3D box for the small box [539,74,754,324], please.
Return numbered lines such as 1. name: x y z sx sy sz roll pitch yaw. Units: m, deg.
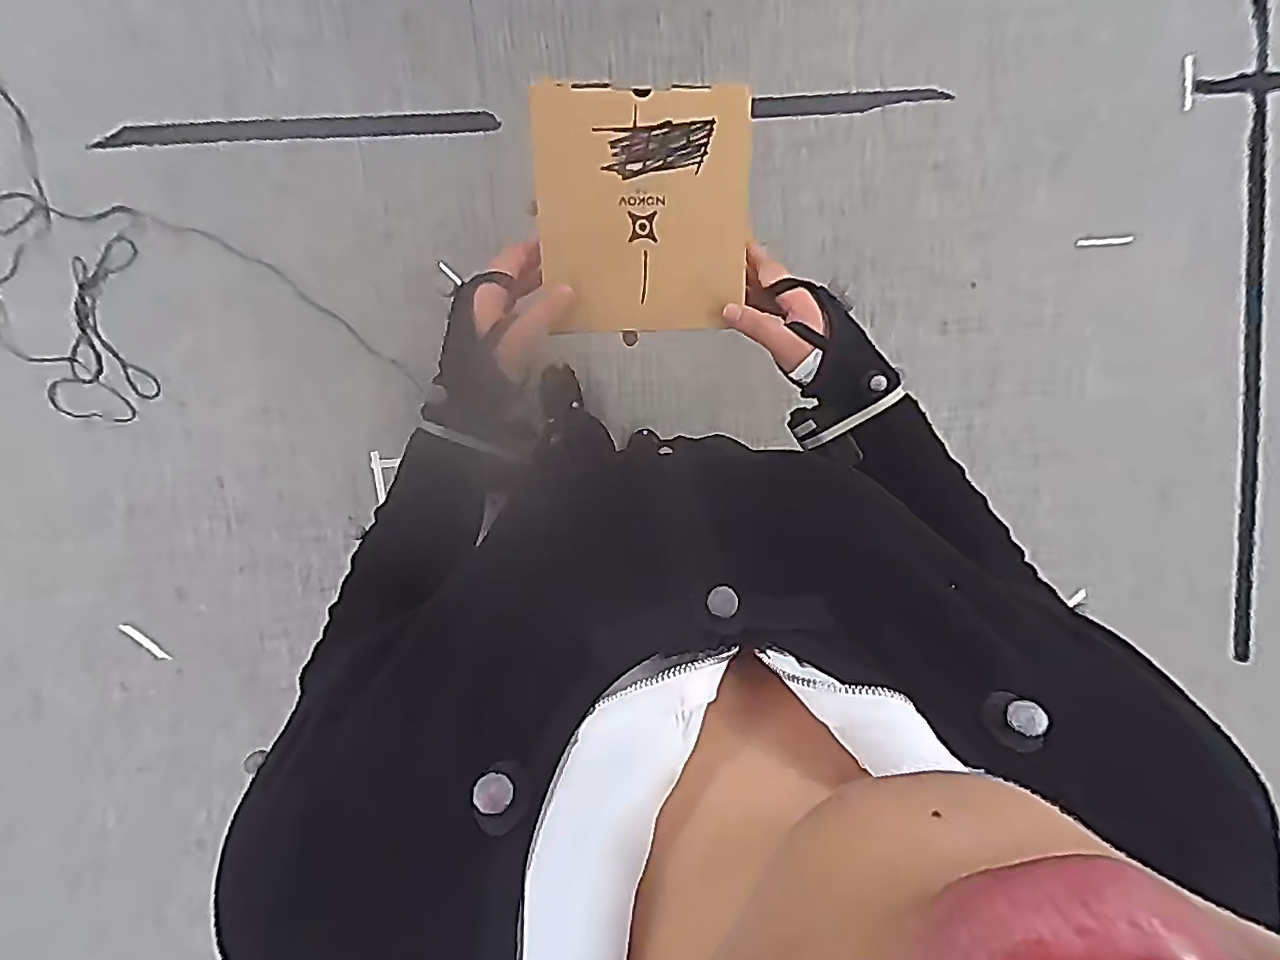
1. small box: 0.000 -0.237 0.499 0.168 0.176 0.179 -2 107 -4
